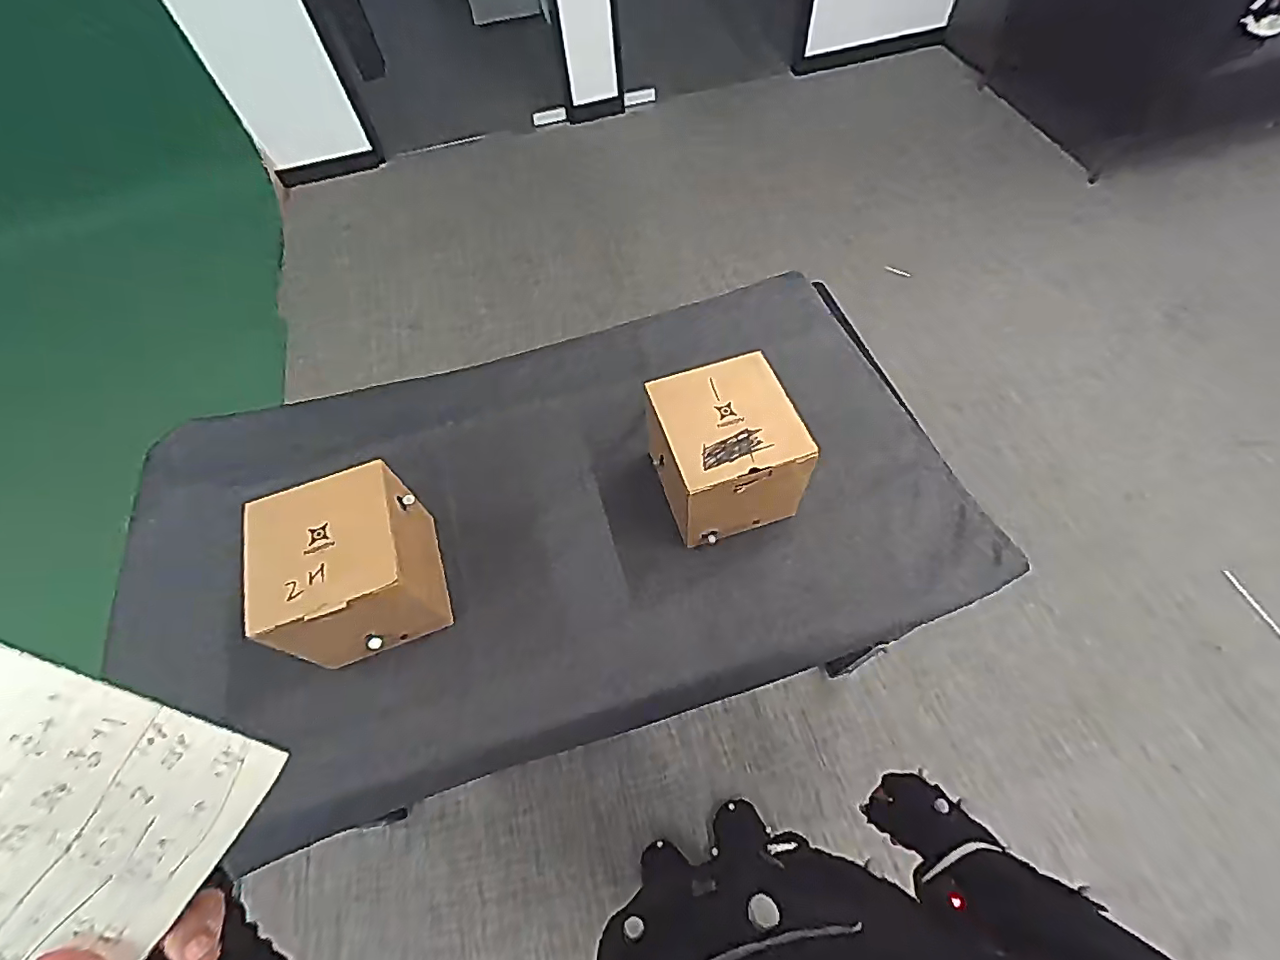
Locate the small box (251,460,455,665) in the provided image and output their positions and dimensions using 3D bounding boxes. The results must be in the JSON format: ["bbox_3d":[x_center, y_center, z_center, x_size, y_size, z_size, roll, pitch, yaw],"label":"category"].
[{"bbox_3d":[-0.354,0.109,0.687,0.168,0.176,0.179,-20,60,-7],"label":"small box"}]

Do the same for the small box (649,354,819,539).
[{"bbox_3d":[0.118,-0.036,0.740,0.168,0.176,0.179,-16,59,-6],"label":"small box"}]
